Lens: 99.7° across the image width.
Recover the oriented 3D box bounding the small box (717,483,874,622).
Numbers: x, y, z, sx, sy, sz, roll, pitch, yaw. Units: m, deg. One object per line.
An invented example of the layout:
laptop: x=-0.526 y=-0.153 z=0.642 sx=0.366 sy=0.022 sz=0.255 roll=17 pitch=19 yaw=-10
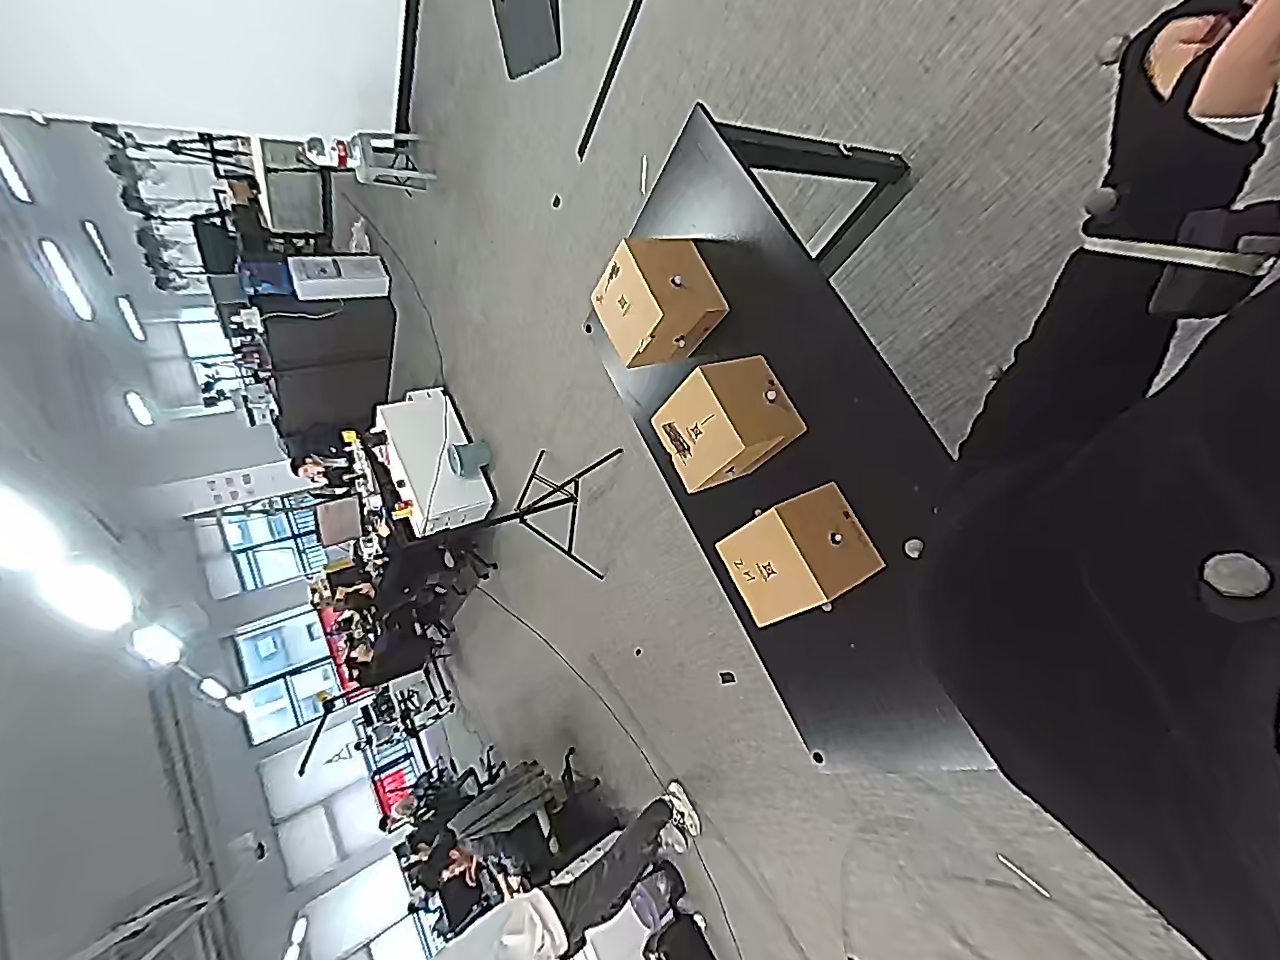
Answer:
small box: x=0.275 y=0.124 z=0.943 sx=0.168 sy=0.176 sz=0.179 roll=63 pitch=145 yaw=14

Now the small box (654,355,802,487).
small box: x=0.161 y=-0.109 z=0.999 sx=0.168 sy=0.176 sz=0.179 roll=63 pitch=144 yaw=14

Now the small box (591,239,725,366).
small box: x=0.037 y=-0.354 z=1.063 sx=0.168 sy=0.176 sz=0.179 roll=-42 pitch=71 yaw=54
